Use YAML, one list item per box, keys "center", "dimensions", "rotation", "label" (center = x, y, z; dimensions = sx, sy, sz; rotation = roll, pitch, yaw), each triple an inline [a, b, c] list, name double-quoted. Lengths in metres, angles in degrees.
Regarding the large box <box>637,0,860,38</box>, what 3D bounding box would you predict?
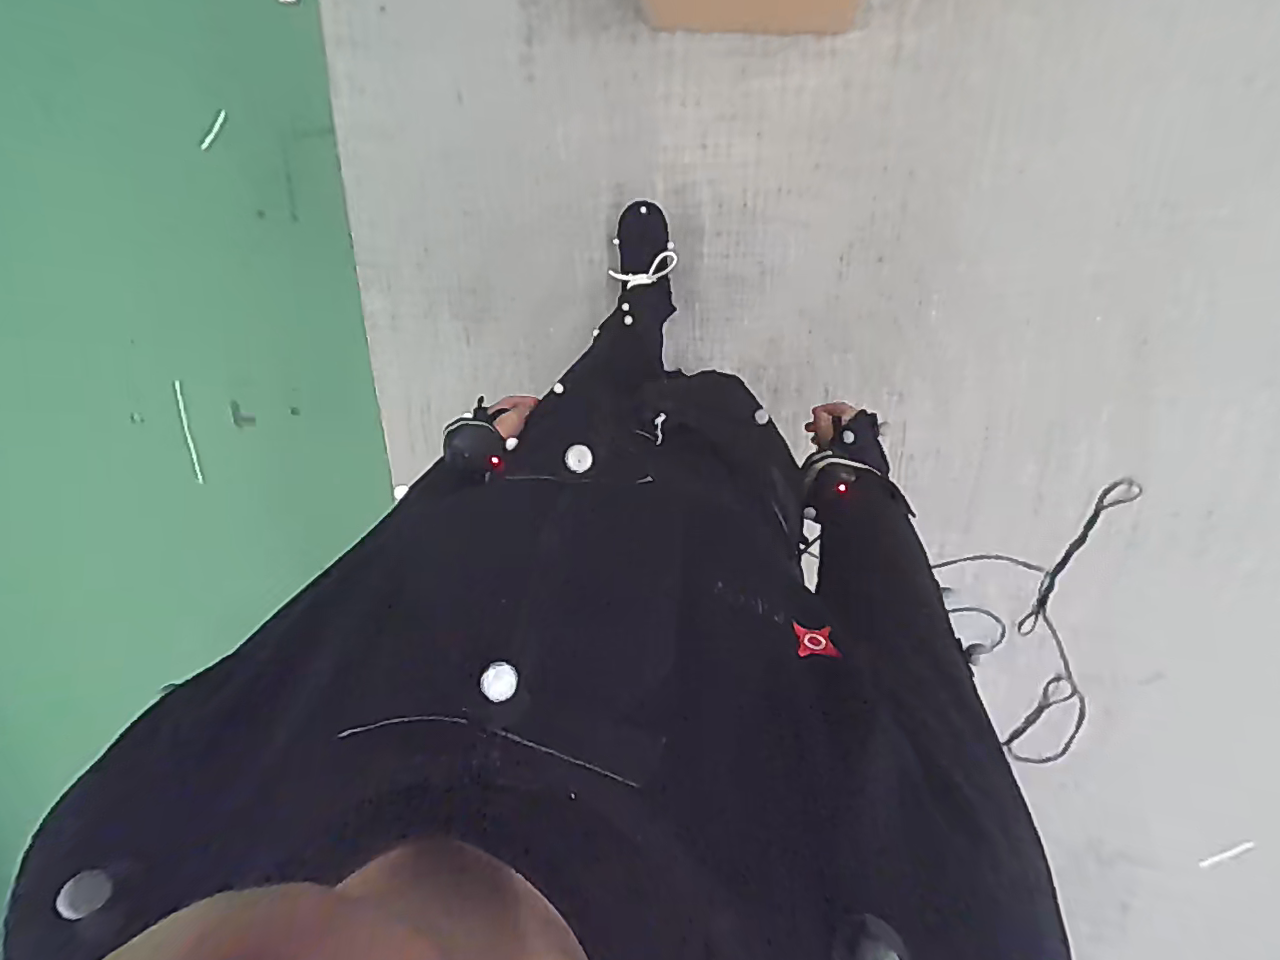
- center: [0.192, -0.989, 0.894]
  dimensions: [0.408, 0.320, 0.320]
  rotation: [7, 108, 8]
  label: "large box"
